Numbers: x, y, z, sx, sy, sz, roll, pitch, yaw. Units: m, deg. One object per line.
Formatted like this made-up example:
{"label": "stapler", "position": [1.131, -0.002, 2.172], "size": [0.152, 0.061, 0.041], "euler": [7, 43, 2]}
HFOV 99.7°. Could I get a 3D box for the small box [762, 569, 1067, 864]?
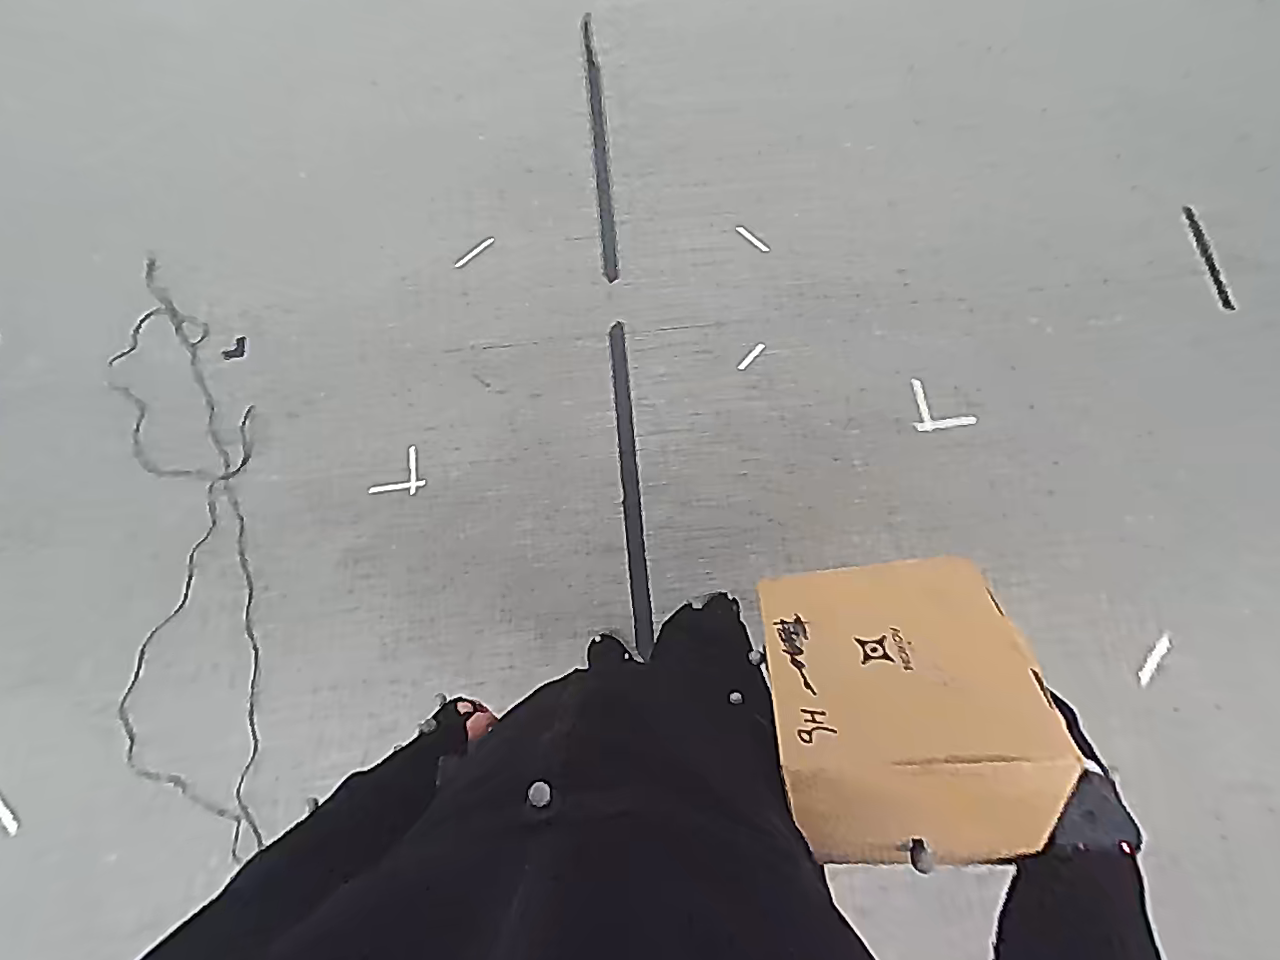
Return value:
{"label": "small box", "position": [0.206, 0.200, 0.459], "size": [0.179, 0.176, 0.168], "euler": [-9, 35, 11]}
